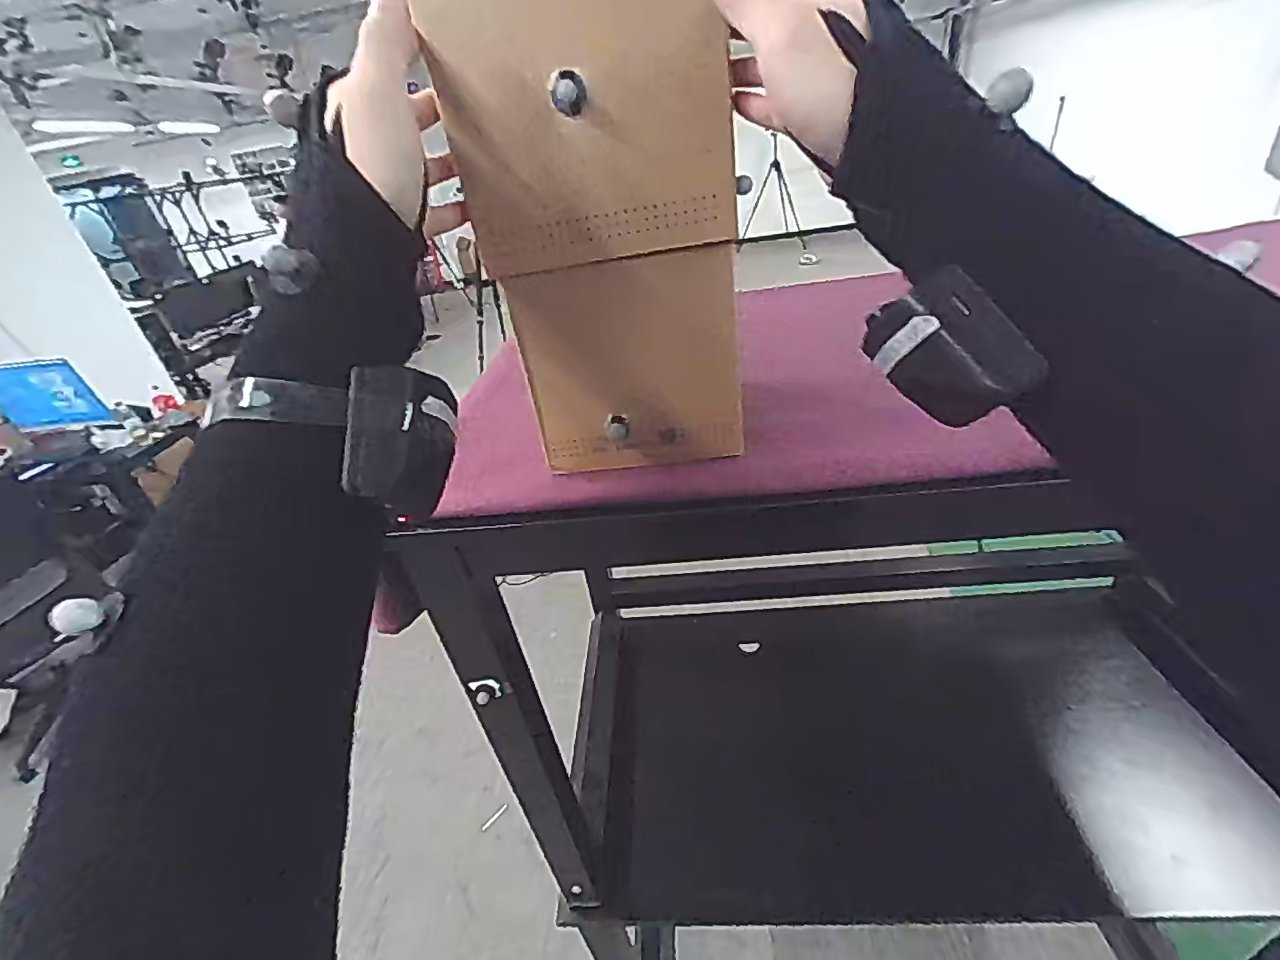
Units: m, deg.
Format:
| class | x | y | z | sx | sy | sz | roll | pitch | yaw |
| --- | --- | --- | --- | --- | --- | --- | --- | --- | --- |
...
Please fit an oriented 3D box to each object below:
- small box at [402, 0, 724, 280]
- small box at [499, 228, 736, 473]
| class | x | y | z | sx | sy | sz | roll | pitch | yaw |
| --- | --- | --- | --- | --- | --- | --- | --- | --- | --- |
| small box | -0.035 | -0.257 | 0.392 | 0.179 | 0.176 | 0.168 | -8 | 30 | 6 |
| small box | -0.008 | -0.124 | 0.485 | 0.168 | 0.176 | 0.179 | -7 | 31 | 5 |
